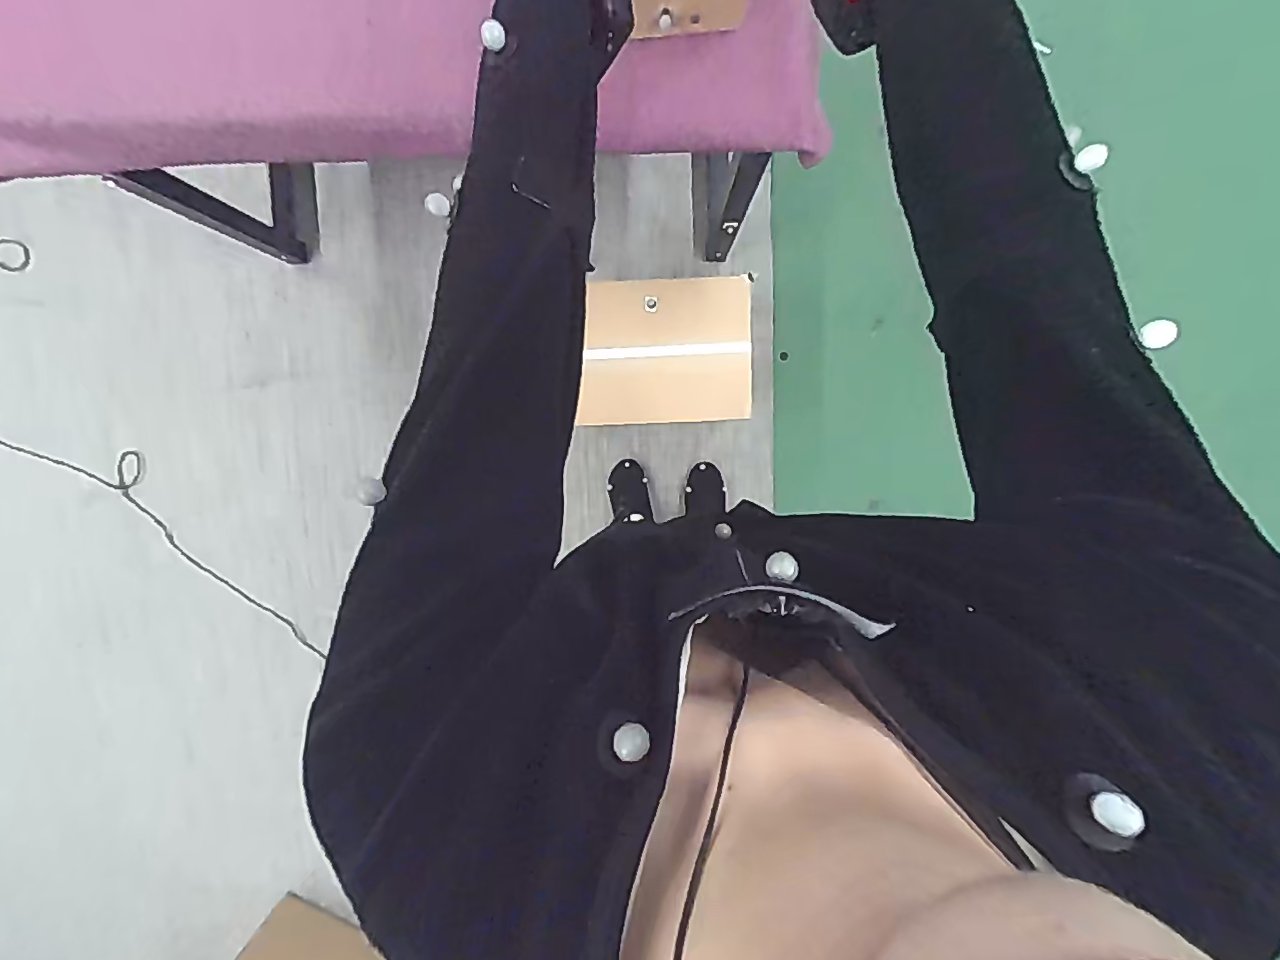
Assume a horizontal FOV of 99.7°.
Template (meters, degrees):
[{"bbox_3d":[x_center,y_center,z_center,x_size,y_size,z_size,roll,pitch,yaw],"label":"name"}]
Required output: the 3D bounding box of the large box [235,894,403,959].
[{"bbox_3d":[-0.972,1.499,1.530,0.408,0.320,0.320,27,96,0],"label":"large box"}]

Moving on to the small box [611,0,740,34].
[{"bbox_3d":[0.037,-0.670,0.621,0.168,0.176,0.179,-4,94,3],"label":"small box"}]
